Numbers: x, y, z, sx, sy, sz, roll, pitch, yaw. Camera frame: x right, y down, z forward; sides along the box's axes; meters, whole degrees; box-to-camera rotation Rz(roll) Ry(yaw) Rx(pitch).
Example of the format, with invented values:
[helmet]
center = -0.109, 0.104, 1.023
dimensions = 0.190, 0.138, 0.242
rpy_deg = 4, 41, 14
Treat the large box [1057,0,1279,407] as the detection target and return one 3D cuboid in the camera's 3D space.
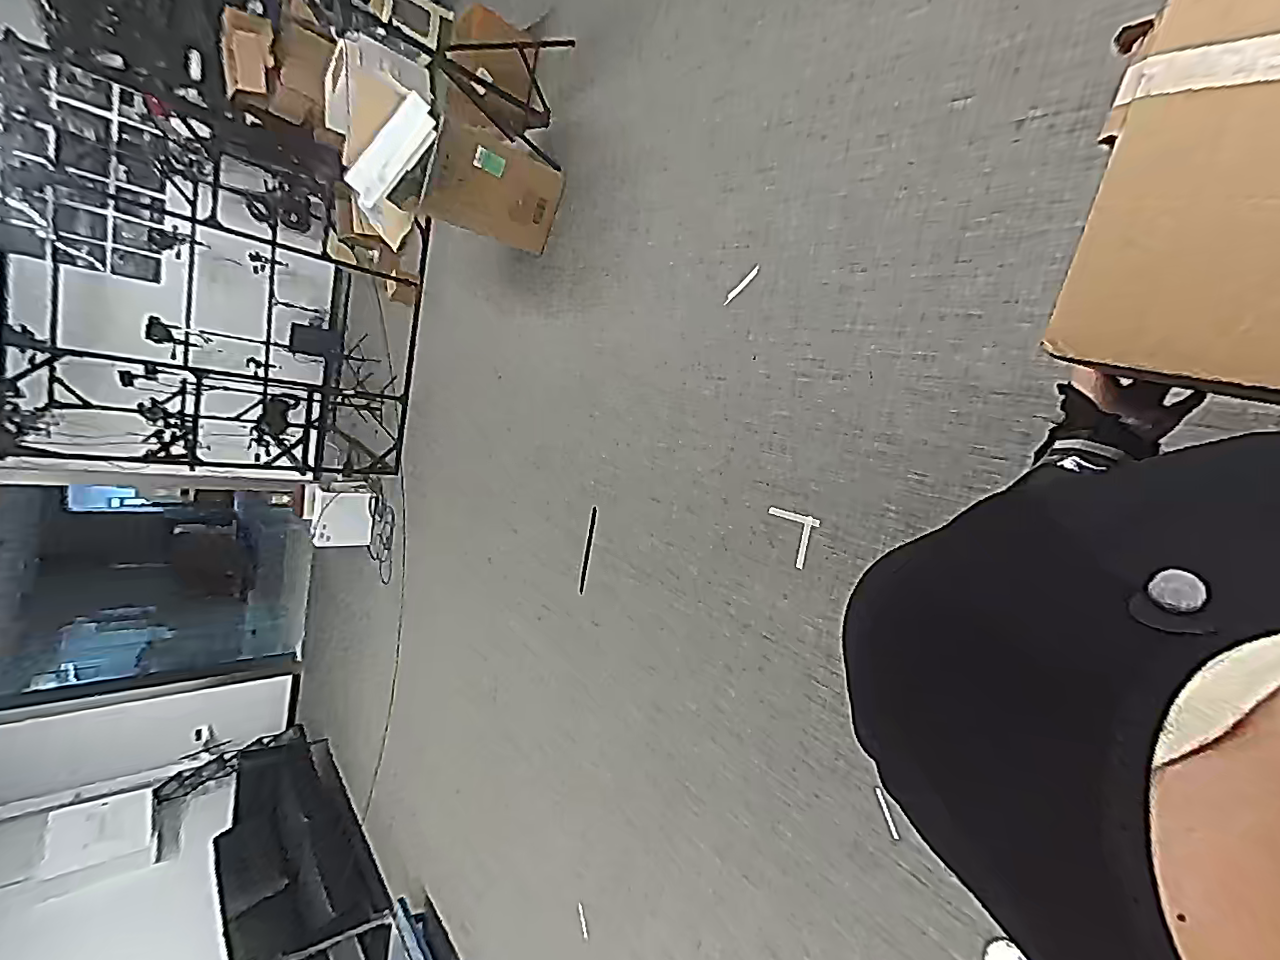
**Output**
[large box]
center = 0.530, -0.173, 0.272
dimensions = 0.408, 0.320, 0.320
rpy_deg = 27, 115, 44
